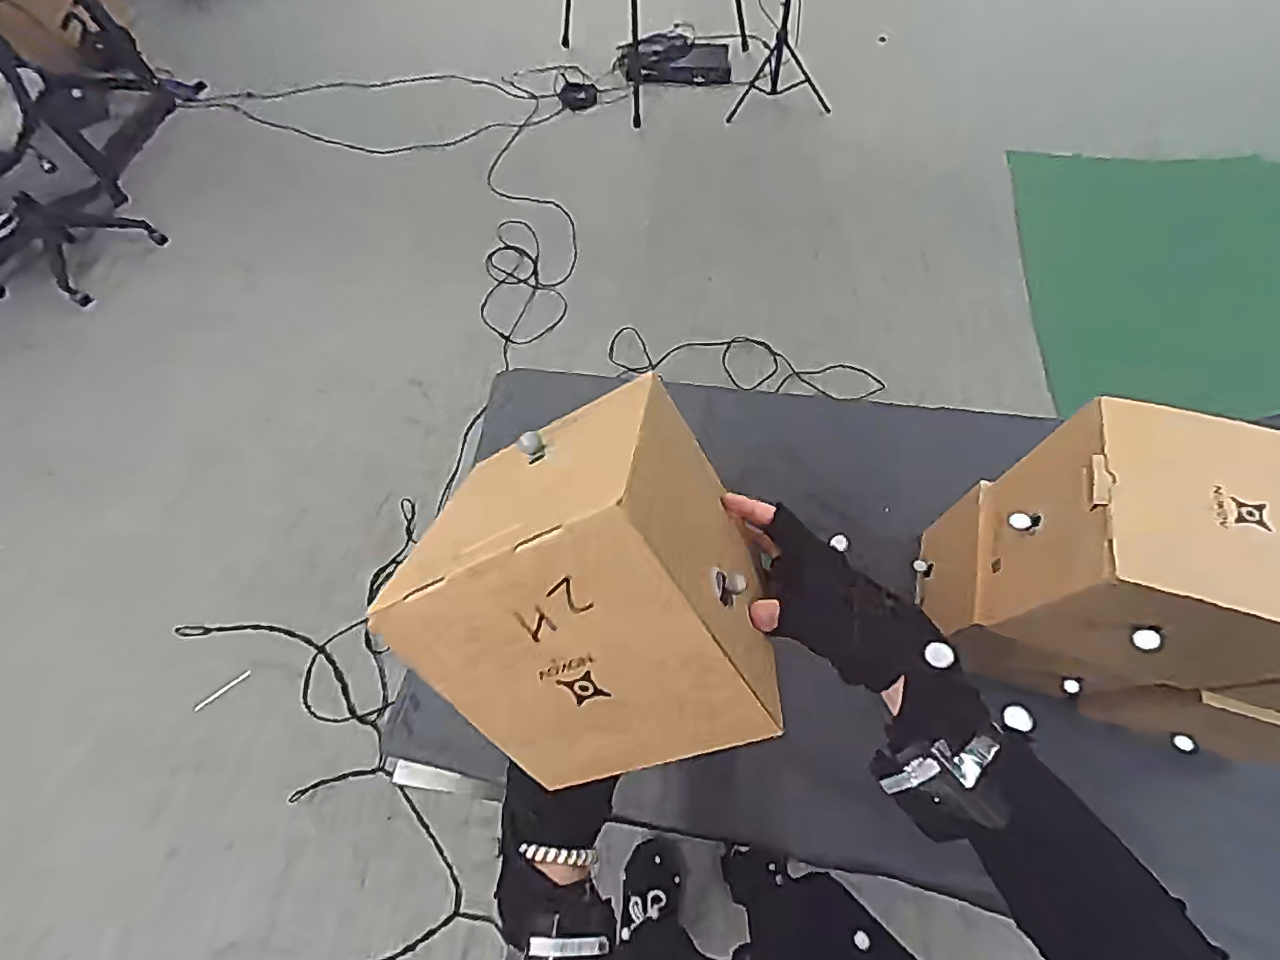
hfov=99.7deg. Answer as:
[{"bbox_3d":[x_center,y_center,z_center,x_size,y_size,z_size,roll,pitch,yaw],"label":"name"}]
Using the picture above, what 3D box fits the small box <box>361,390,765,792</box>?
[{"bbox_3d":[-0.030,0.071,0.364,0.168,0.179,0.176,-25,26,22],"label":"small box"}]
